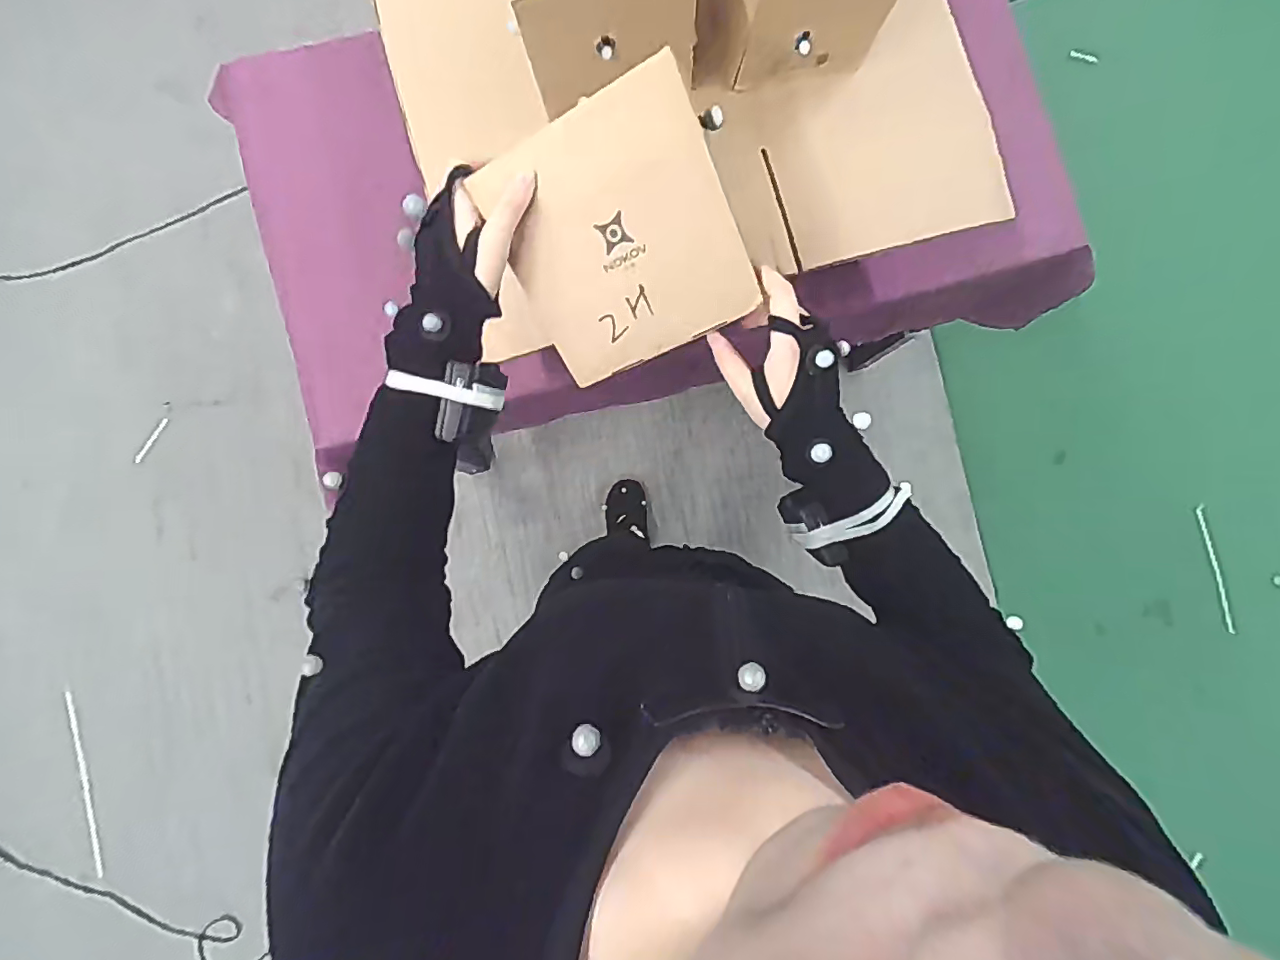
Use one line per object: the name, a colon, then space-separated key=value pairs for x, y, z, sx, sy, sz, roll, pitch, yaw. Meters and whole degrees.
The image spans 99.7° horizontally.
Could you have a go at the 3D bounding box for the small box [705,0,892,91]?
small box: x=0.171 y=-0.574 z=0.585 sx=0.168 sy=0.176 sz=0.179 roll=-14 pitch=87 yaw=-5

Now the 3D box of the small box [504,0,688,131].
small box: x=-0.051 y=-0.519 z=0.572 sx=0.179 sy=0.176 sz=0.168 roll=-15 pitch=87 yaw=4
